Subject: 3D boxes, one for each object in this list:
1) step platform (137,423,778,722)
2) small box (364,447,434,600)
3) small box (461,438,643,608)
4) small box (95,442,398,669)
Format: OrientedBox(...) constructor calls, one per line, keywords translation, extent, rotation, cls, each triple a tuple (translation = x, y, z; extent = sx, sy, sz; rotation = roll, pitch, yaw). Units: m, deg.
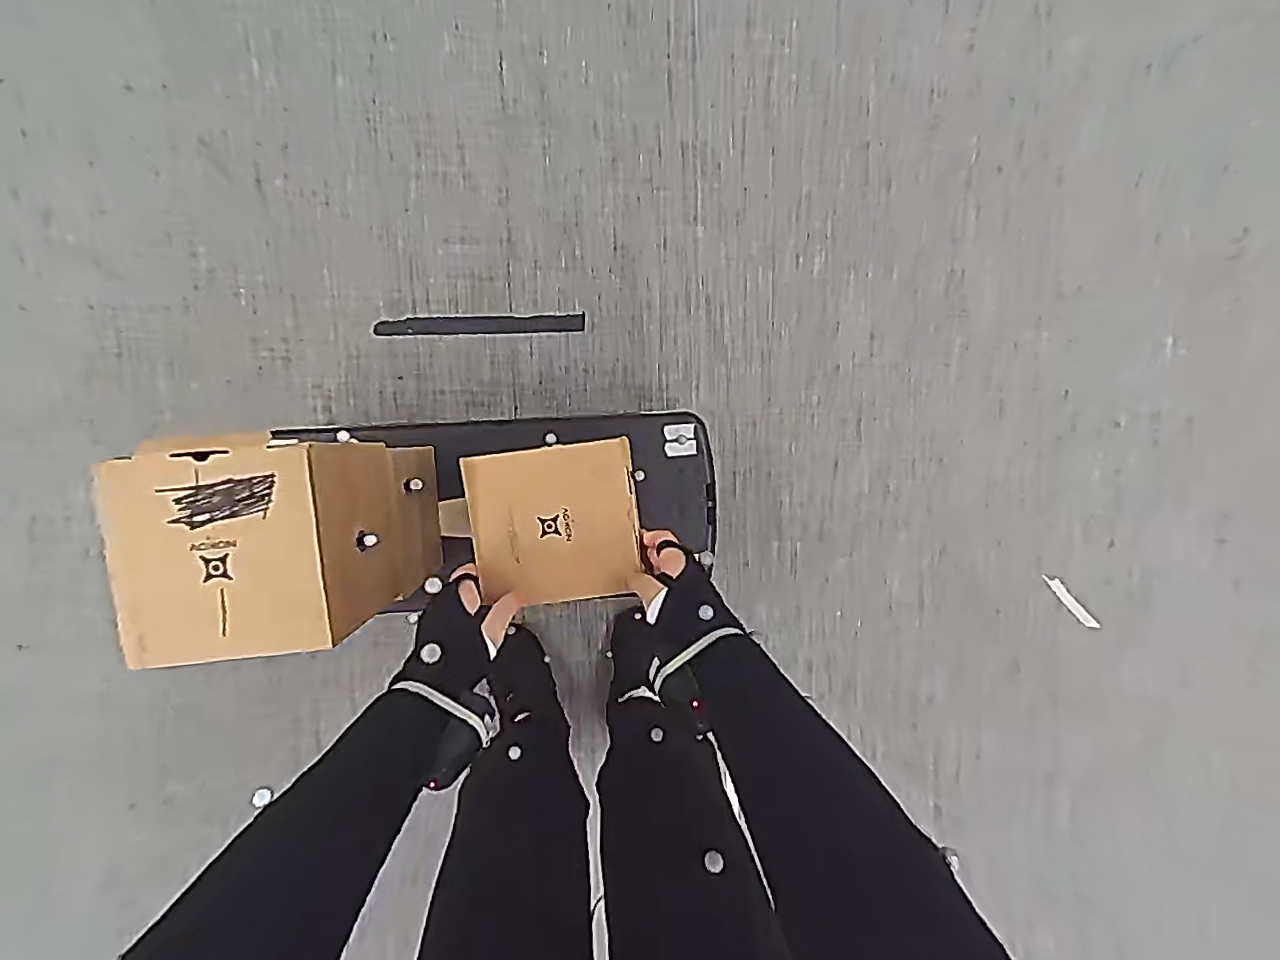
OrientedBox(translation=(-0.194, 0.090, 0.666), extent=(0.684, 0.204, 0.286), rotation=(-4, 94, -5), cls="step platform")
OrientedBox(translation=(-0.363, 0.049, 0.682), extent=(0.168, 0.176, 0.179), rotation=(-3, 95, -5), cls="small box")
OrientedBox(translation=(-0.092, 0.040, 0.649), extent=(0.179, 0.176, 0.168), rotation=(-8, 94, 2), cls="small box")
OrientedBox(translation=(-0.350, 0.057, 0.519), extent=(0.168, 0.176, 0.179), rotation=(-5, 95, -5), cls="small box")
